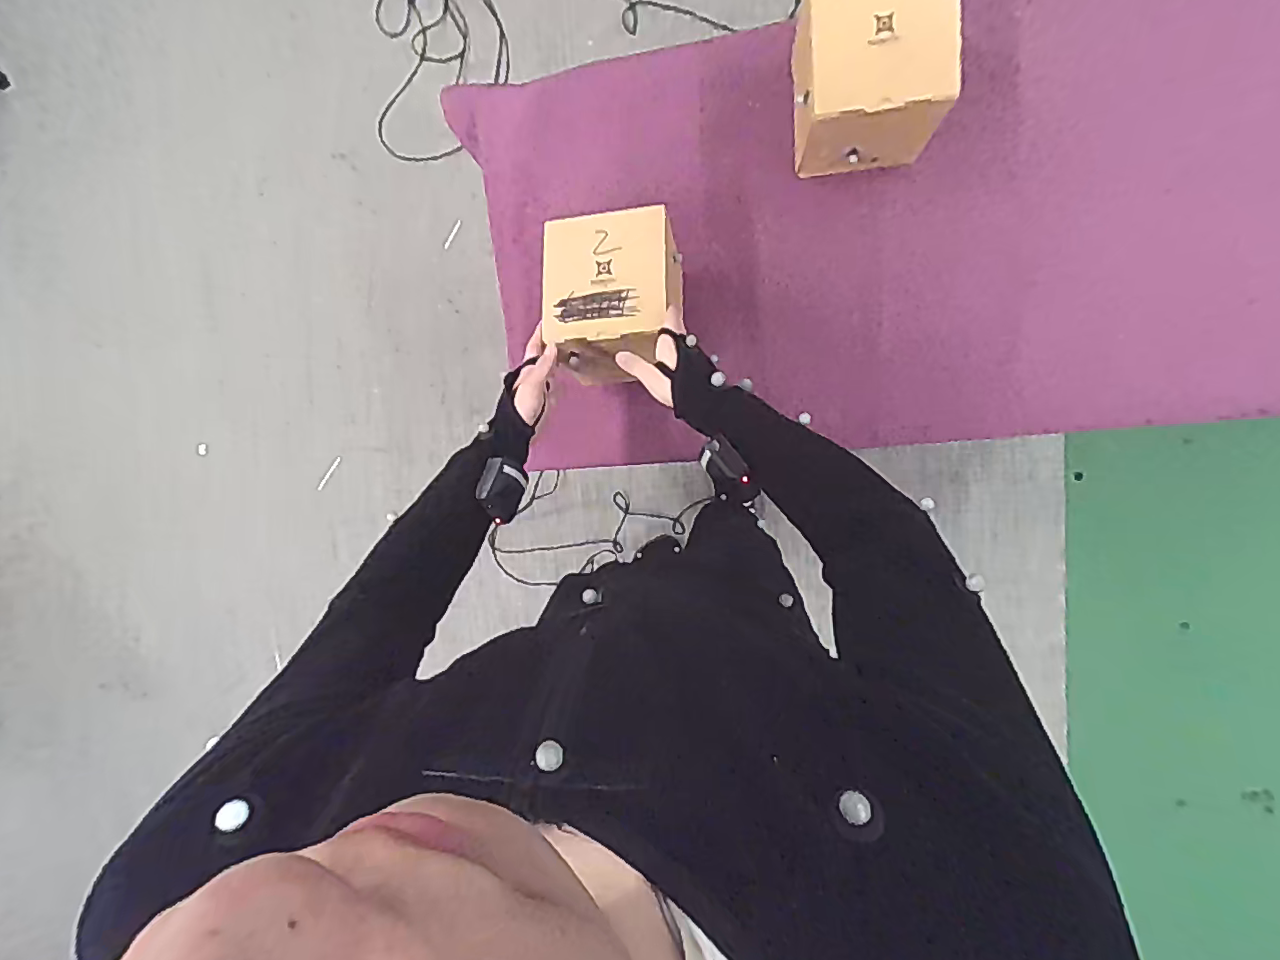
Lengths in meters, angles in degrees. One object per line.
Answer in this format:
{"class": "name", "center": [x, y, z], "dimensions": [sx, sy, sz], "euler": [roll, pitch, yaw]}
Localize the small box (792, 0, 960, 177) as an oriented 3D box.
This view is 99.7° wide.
{"class": "small box", "center": [0.295, -0.532, 0.707], "dimensions": [0.168, 0.176, 0.179], "euler": [-3, 97, 9]}
